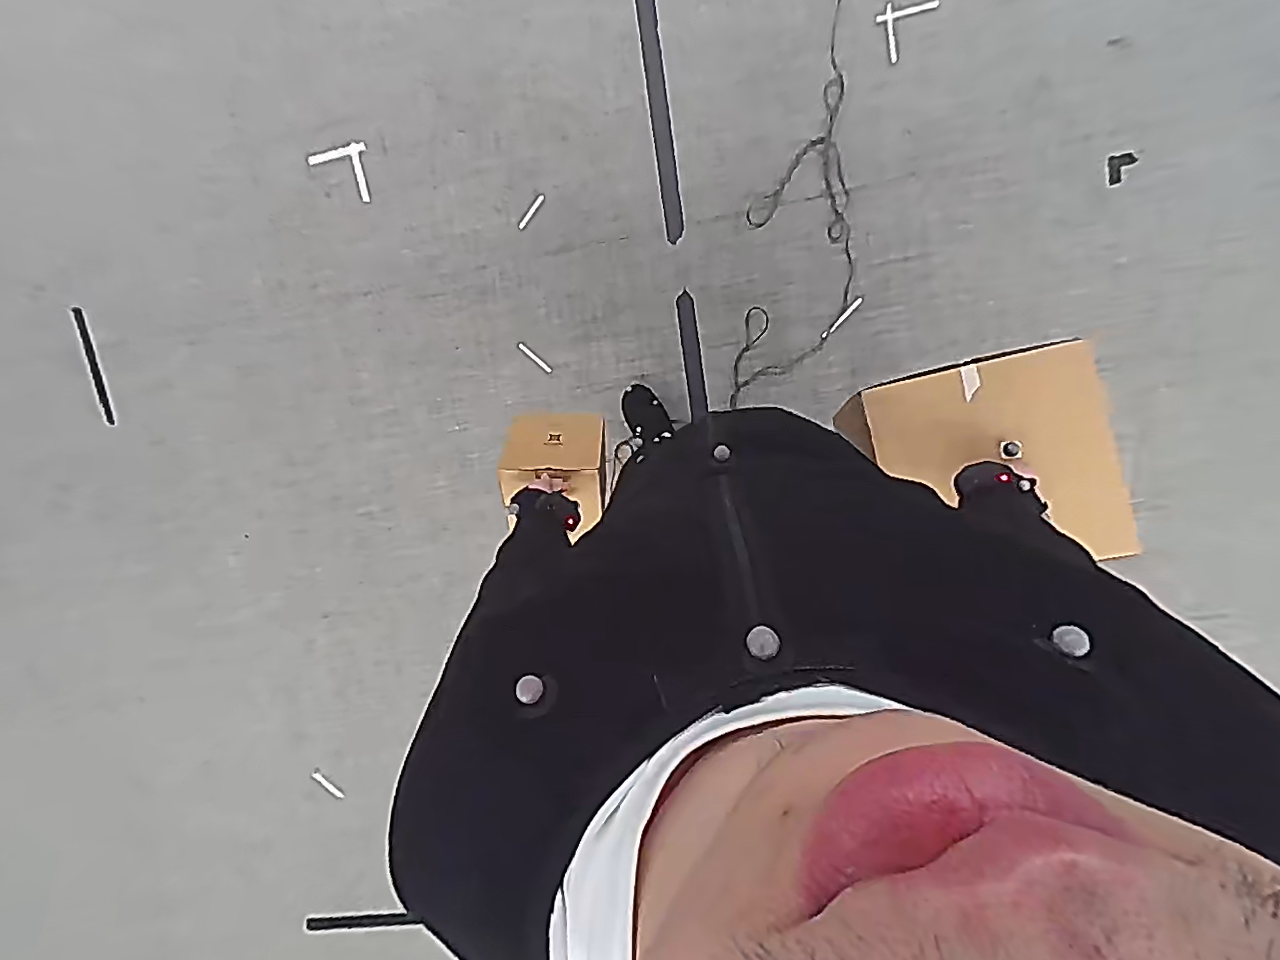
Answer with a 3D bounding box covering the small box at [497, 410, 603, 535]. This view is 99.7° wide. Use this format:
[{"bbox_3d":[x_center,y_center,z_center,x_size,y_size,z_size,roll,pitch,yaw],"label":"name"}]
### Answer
[{"bbox_3d":[-0.155,-0.012,0.996,0.168,0.179,0.176,1,130,-2],"label":"small box"}]
